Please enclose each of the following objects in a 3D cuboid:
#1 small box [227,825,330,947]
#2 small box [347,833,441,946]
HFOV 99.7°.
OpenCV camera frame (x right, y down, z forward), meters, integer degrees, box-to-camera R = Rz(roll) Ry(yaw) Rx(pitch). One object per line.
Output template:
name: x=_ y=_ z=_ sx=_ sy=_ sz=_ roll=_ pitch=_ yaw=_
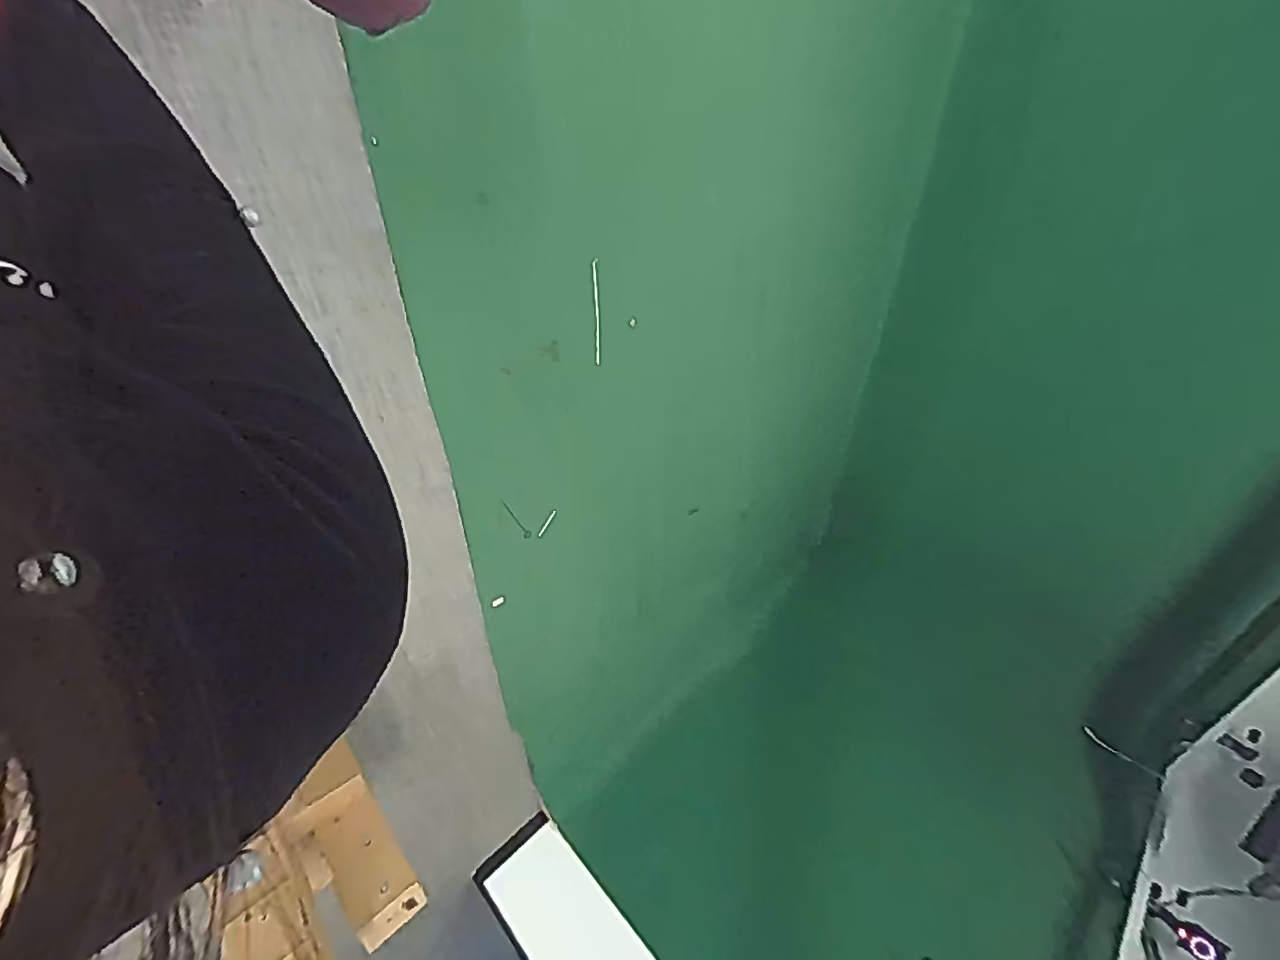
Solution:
small box: x=-0.984 y=1.095 z=1.467 sx=0.179 sy=0.176 sz=0.168 roll=-29 pitch=137 yaw=-34
small box: x=-0.713 y=1.182 z=1.573 sx=0.179 sy=0.176 sz=0.168 roll=-30 pitch=137 yaw=-36
